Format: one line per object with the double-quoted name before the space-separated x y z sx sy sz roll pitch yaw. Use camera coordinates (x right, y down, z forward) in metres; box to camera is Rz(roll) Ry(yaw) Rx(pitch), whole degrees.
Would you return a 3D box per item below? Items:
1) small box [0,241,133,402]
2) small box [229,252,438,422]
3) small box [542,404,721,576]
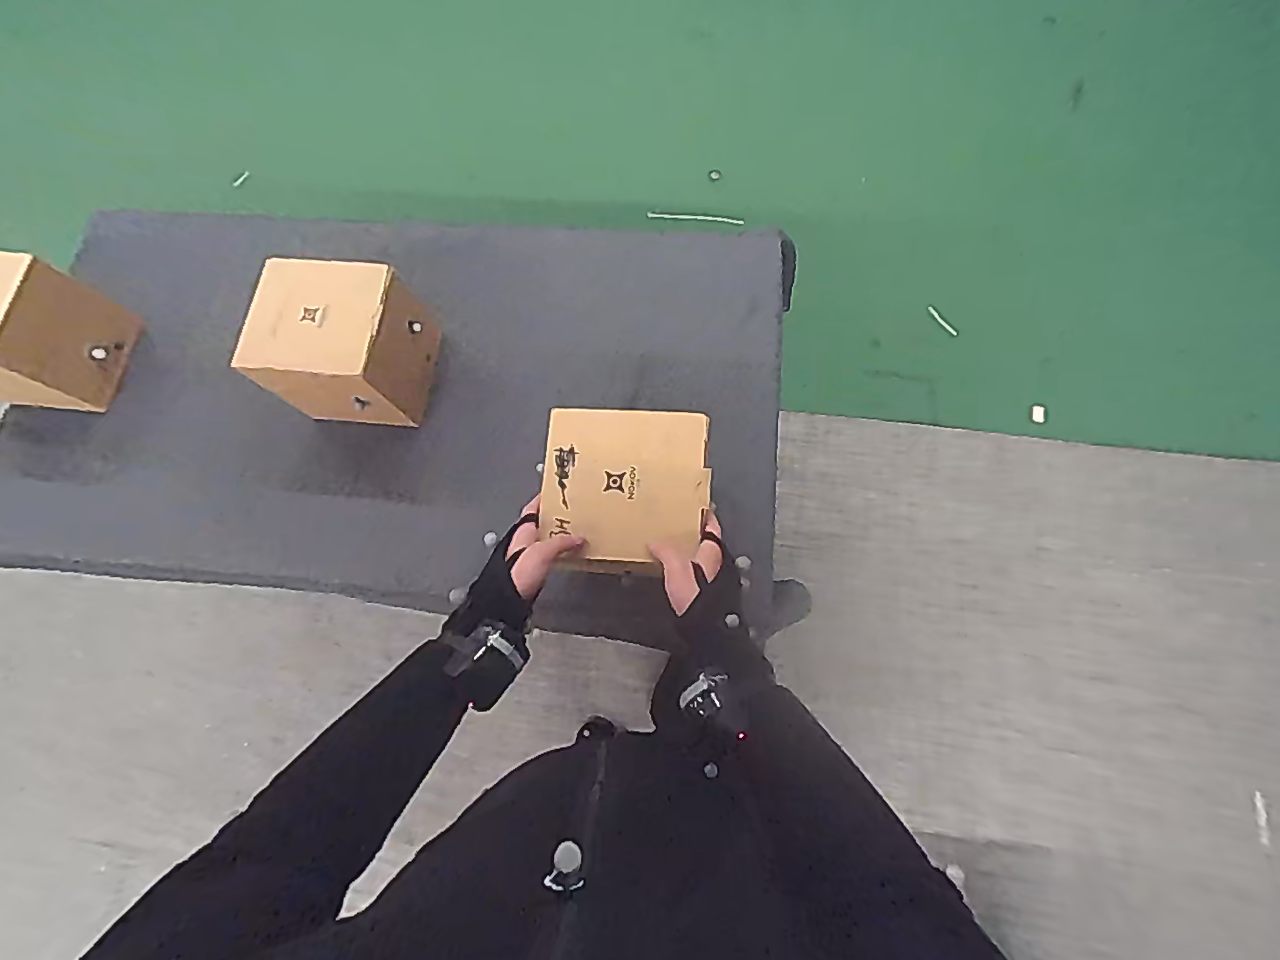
"small box" -0.909 -0.223 0.776 0.179 0.176 0.168 6 75 2
"small box" -0.405 -0.189 0.752 0.179 0.176 0.168 5 73 5
"small box" -0.004 0.022 0.641 0.179 0.176 0.168 4 76 3
